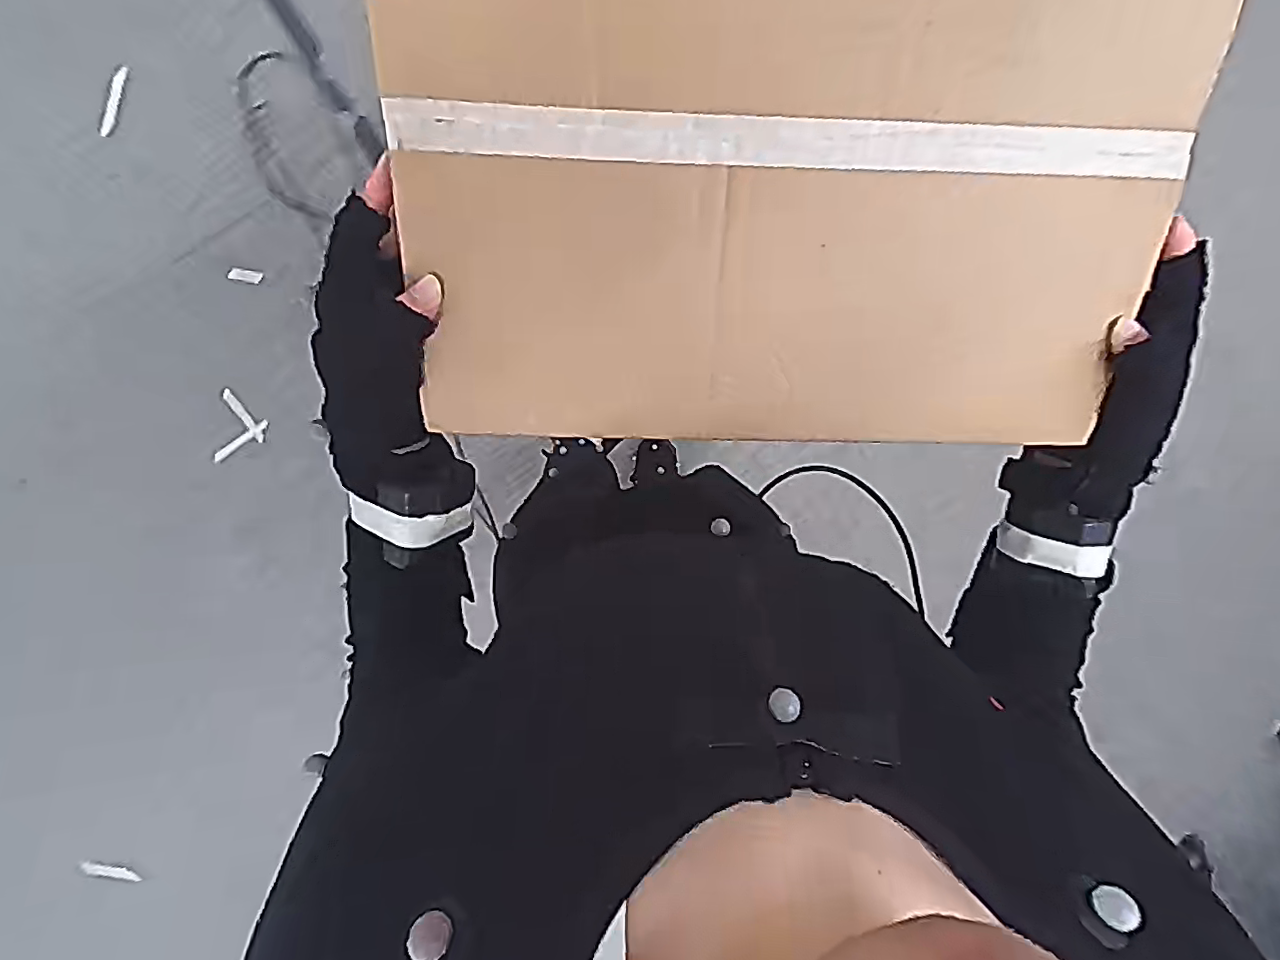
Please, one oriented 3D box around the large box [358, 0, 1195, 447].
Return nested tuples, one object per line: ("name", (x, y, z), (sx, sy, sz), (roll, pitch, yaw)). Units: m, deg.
("large box", (0.063, -0.225, 0.417), (0.408, 0.320, 0.320), (-1, 112, -2))
